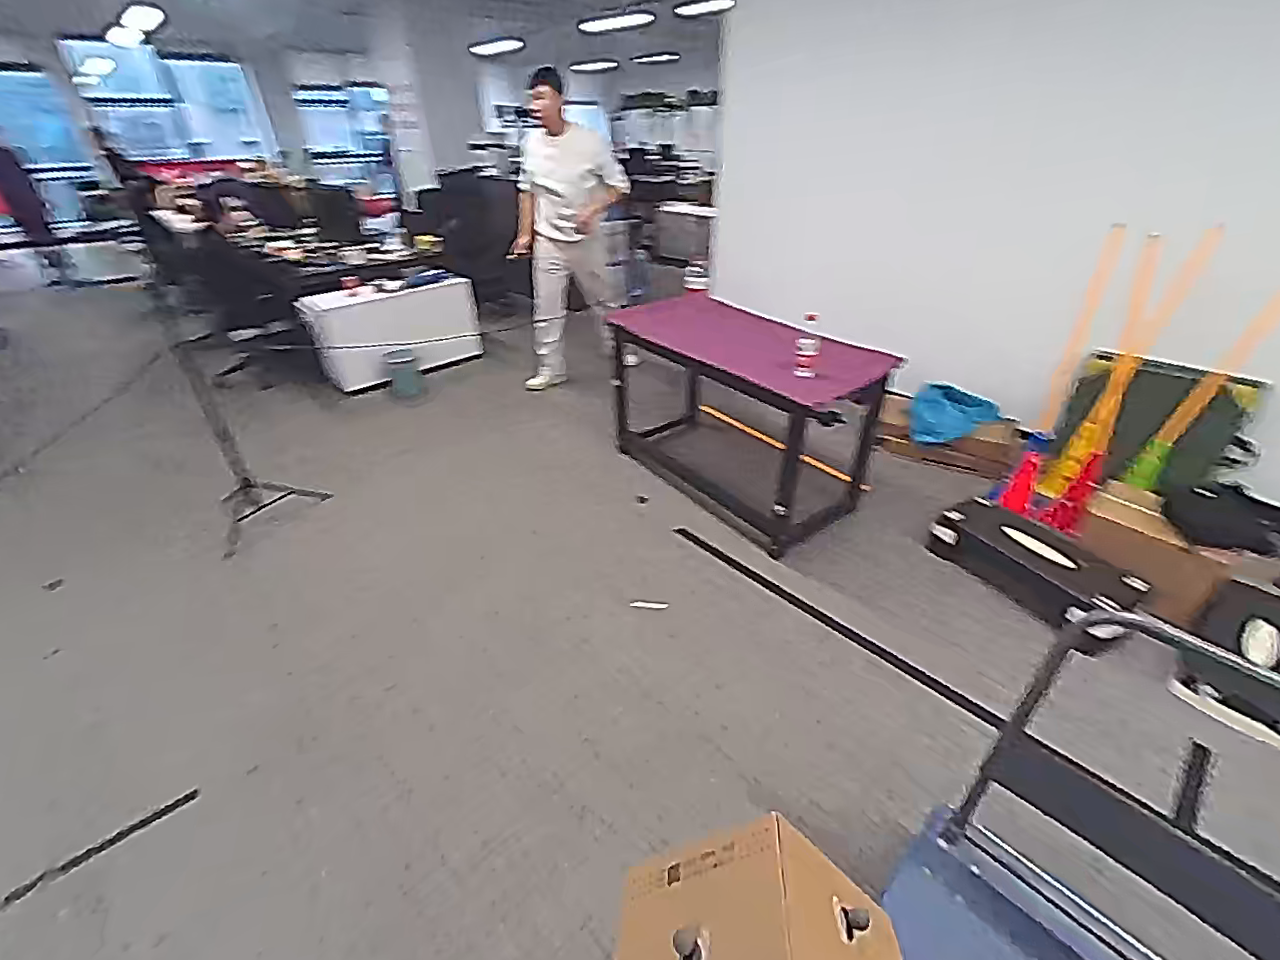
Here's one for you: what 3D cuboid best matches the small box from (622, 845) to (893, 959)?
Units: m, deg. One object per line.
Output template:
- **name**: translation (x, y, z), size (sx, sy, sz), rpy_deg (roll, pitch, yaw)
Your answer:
- **small box**: translation (0.092, 0.411, 0.406), size (0.168, 0.179, 0.176), rpy_deg (-37, 17, 22)
